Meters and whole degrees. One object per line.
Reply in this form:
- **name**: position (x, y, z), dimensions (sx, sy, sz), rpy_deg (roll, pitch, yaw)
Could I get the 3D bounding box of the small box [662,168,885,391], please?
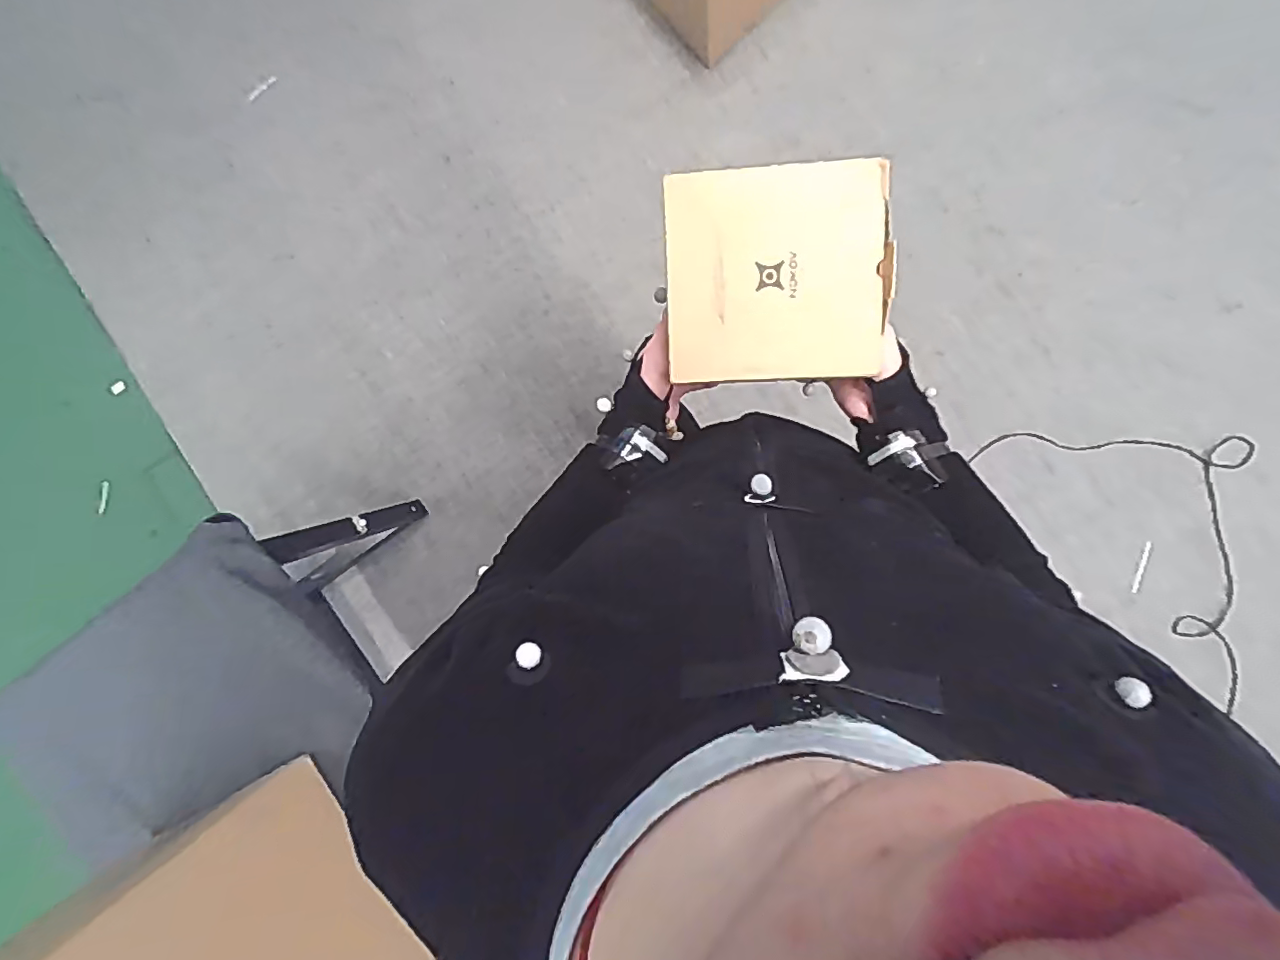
- **small box**: position (0.114, -0.172, 0.516), dimensions (0.179, 0.176, 0.168), rpy_deg (-2, 98, 7)
